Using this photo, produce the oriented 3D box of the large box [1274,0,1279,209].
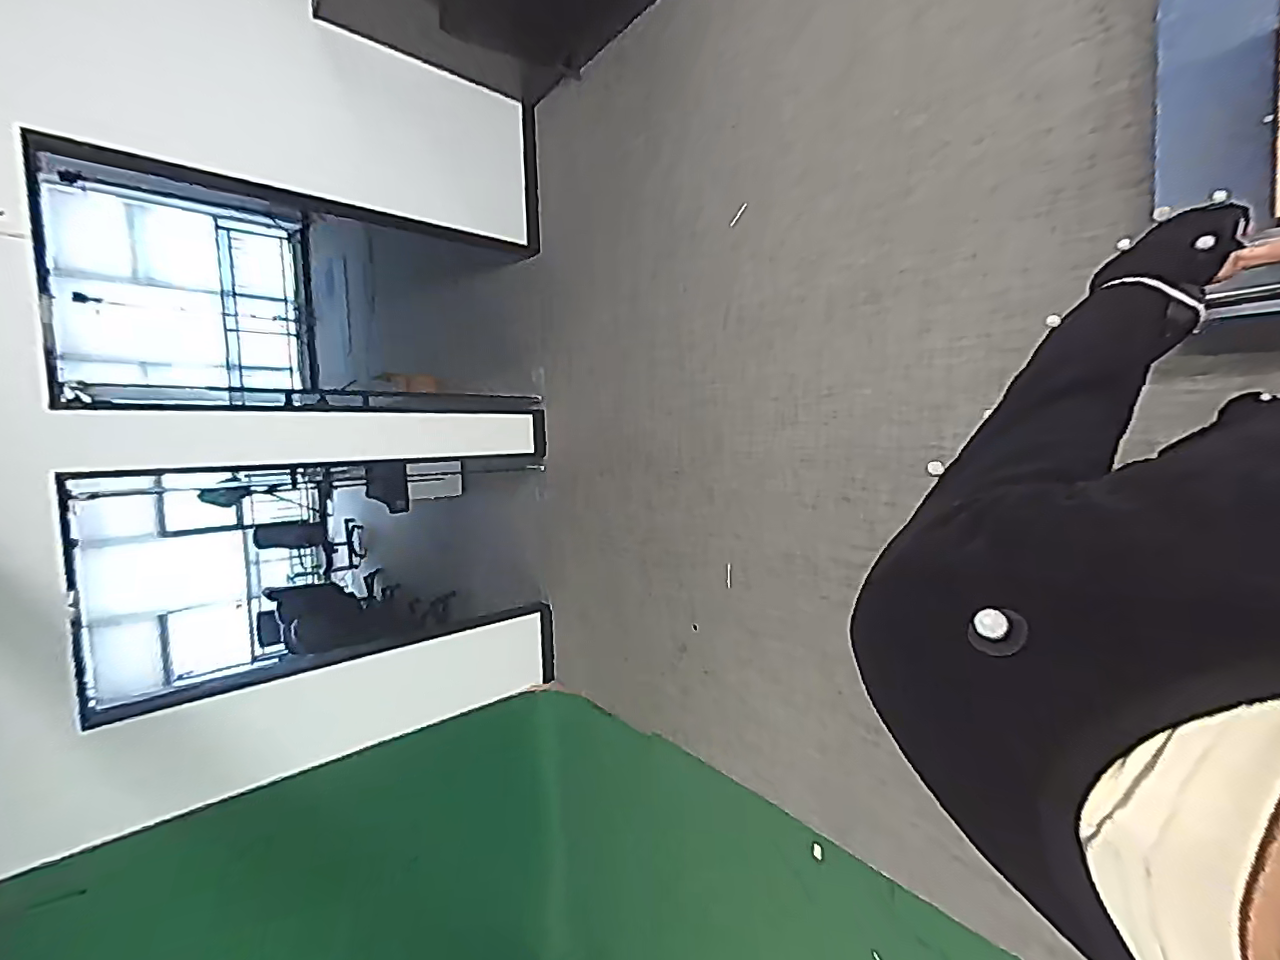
[{"bbox_3d":[1.100,-0.567,0.725,0.320,0.320,0.408,2,94,49],"label":"large box"}]
